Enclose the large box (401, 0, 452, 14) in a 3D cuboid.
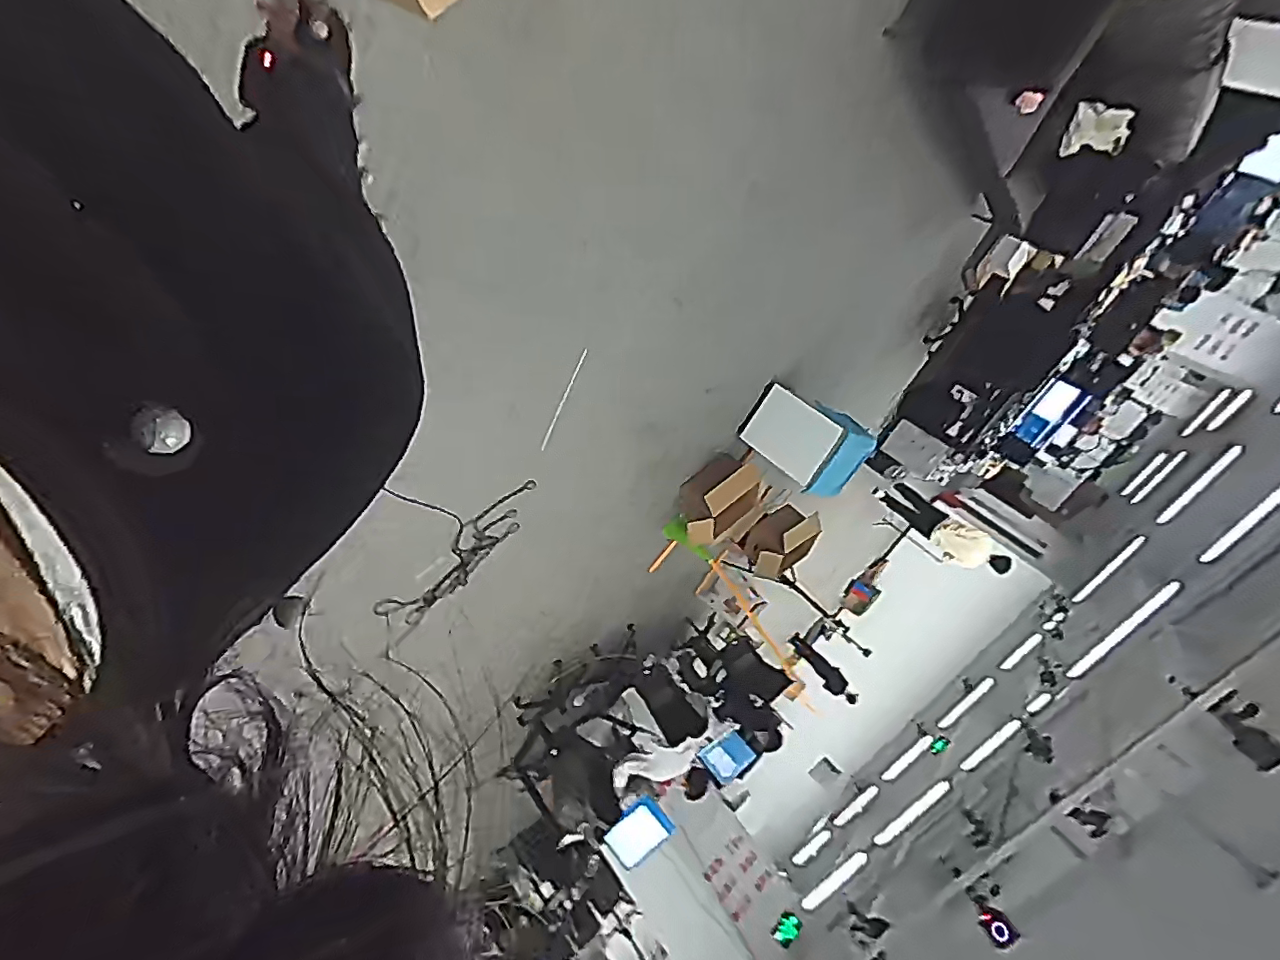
[{"bbox_3d":[-0.414,-1.085,0.856,0.320,0.320,0.408,-44,152,-3],"label":"large box"}]
